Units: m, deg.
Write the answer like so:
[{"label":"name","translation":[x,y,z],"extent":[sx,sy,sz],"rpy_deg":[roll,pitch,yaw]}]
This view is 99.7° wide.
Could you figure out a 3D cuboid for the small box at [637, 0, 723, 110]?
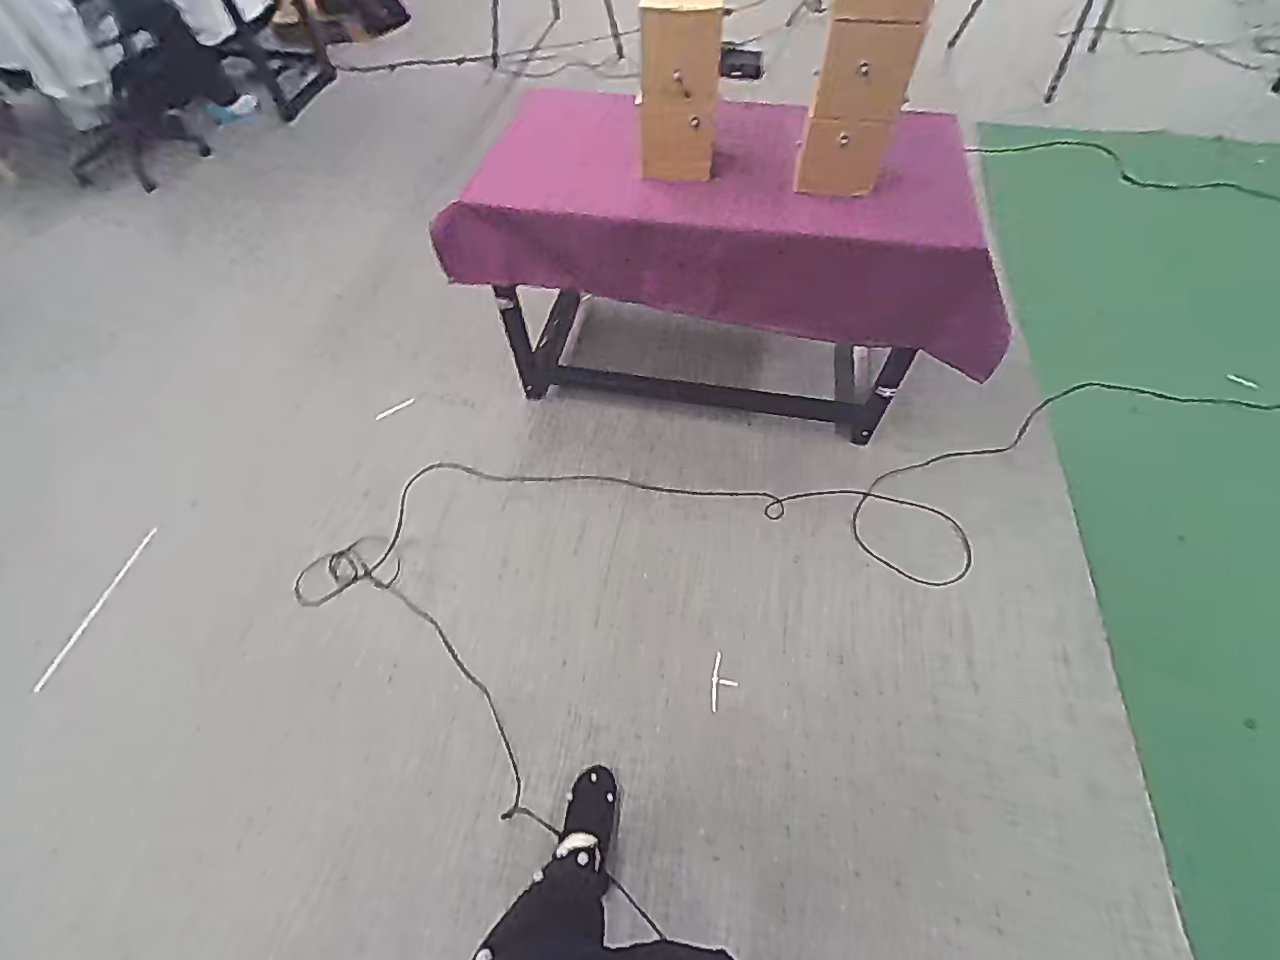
[{"label":"small box","translation":[0.086,-0.936,1.171],"extent":[0.168,0.176,0.179],"rpy_deg":[5,57,5]}]

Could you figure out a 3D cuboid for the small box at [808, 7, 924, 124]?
[{"label":"small box","translation":[0.456,-0.858,1.108],"extent":[0.179,0.176,0.168],"rpy_deg":[9,59,9]}]

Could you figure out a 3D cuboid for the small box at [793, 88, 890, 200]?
[{"label":"small box","translation":[0.457,-0.772,1.247],"extent":[0.179,0.176,0.168],"rpy_deg":[9,59,7]}]

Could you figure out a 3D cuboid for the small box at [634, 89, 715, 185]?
[{"label":"small box","translation":[0.084,-0.838,1.305],"extent":[0.179,0.176,0.168],"rpy_deg":[6,57,5]}]

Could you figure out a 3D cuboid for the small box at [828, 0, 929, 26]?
[{"label":"small box","translation":[0.444,-0.948,0.970],"extent":[0.179,0.176,0.168],"rpy_deg":[8,59,9]}]
